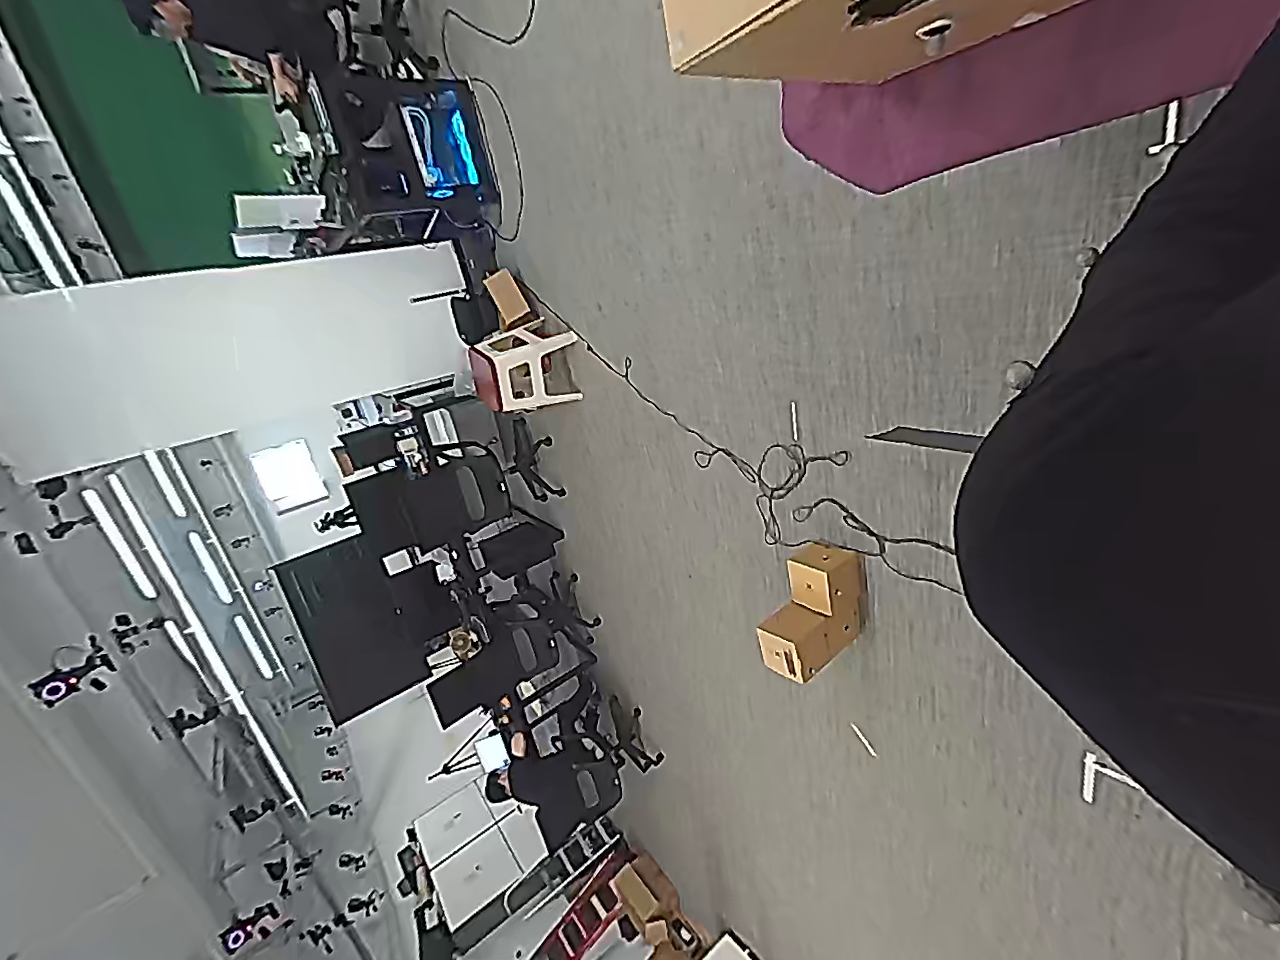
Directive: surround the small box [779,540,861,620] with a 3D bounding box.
[{"bbox_3d":[0.605,0.338,1.826,0.179,0.176,0.168,35,125,28],"label":"small box"}]
